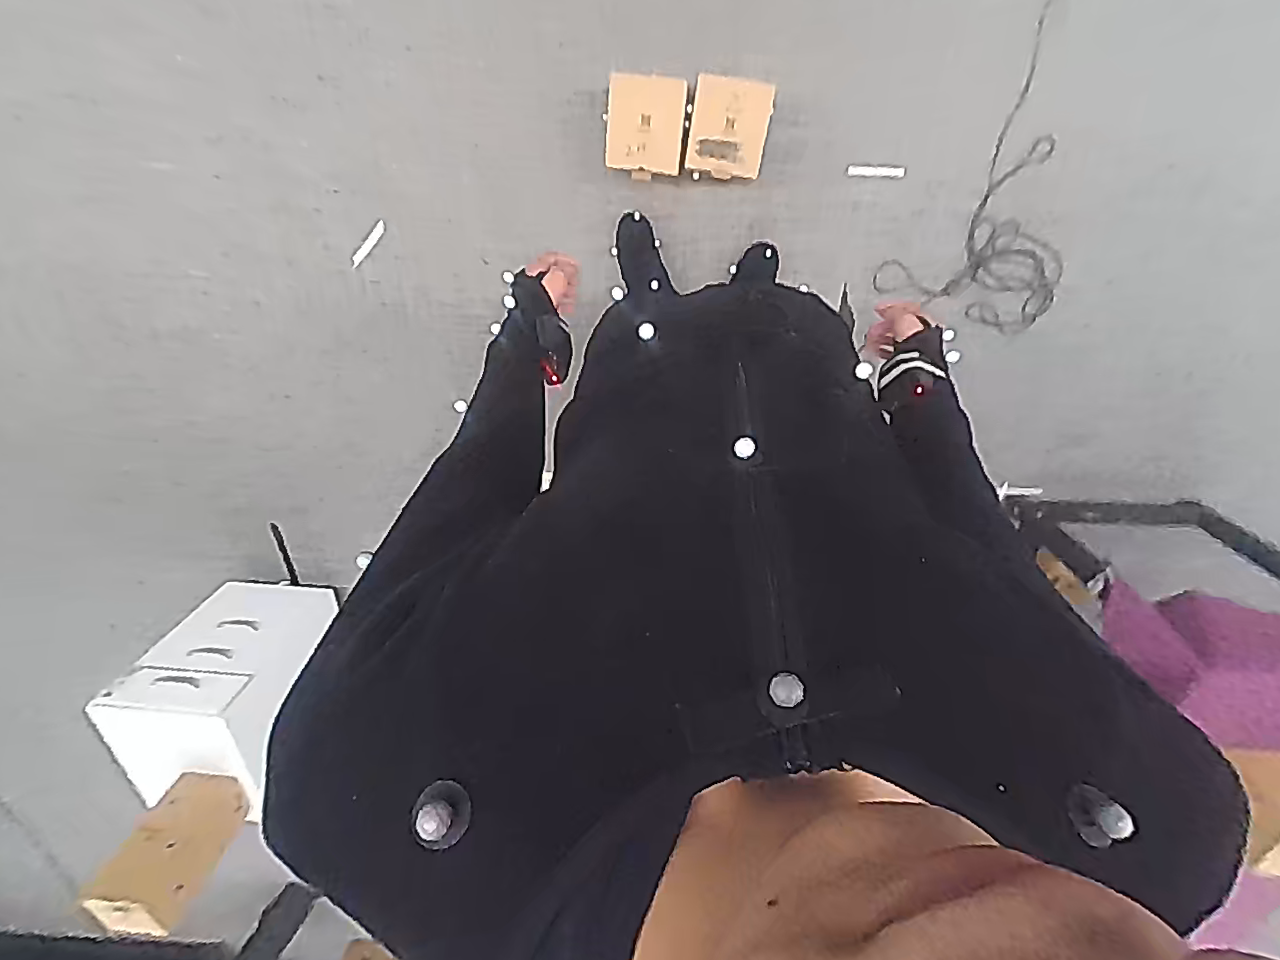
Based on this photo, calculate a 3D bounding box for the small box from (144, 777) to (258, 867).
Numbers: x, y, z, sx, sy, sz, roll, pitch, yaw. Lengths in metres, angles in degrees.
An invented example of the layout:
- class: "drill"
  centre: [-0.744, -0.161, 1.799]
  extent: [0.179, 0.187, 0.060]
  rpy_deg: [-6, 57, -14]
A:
- class: "small box"
  centre: [-1.290, 1.012, 1.603]
  extent: [0.179, 0.176, 0.168]
  rpy_deg: [5, 119, 1]

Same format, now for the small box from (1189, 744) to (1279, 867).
- class: "small box"
  centre: [1.343, 0.681, 1.136]
  extent: [0.179, 0.176, 0.168]
  rpy_deg: [2, 118, 3]

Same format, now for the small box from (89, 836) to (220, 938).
- class: "small box"
  centre: [-1.299, 1.096, 1.462]
  extent: [0.168, 0.176, 0.179]
  rpy_deg: [1, 120, 4]
